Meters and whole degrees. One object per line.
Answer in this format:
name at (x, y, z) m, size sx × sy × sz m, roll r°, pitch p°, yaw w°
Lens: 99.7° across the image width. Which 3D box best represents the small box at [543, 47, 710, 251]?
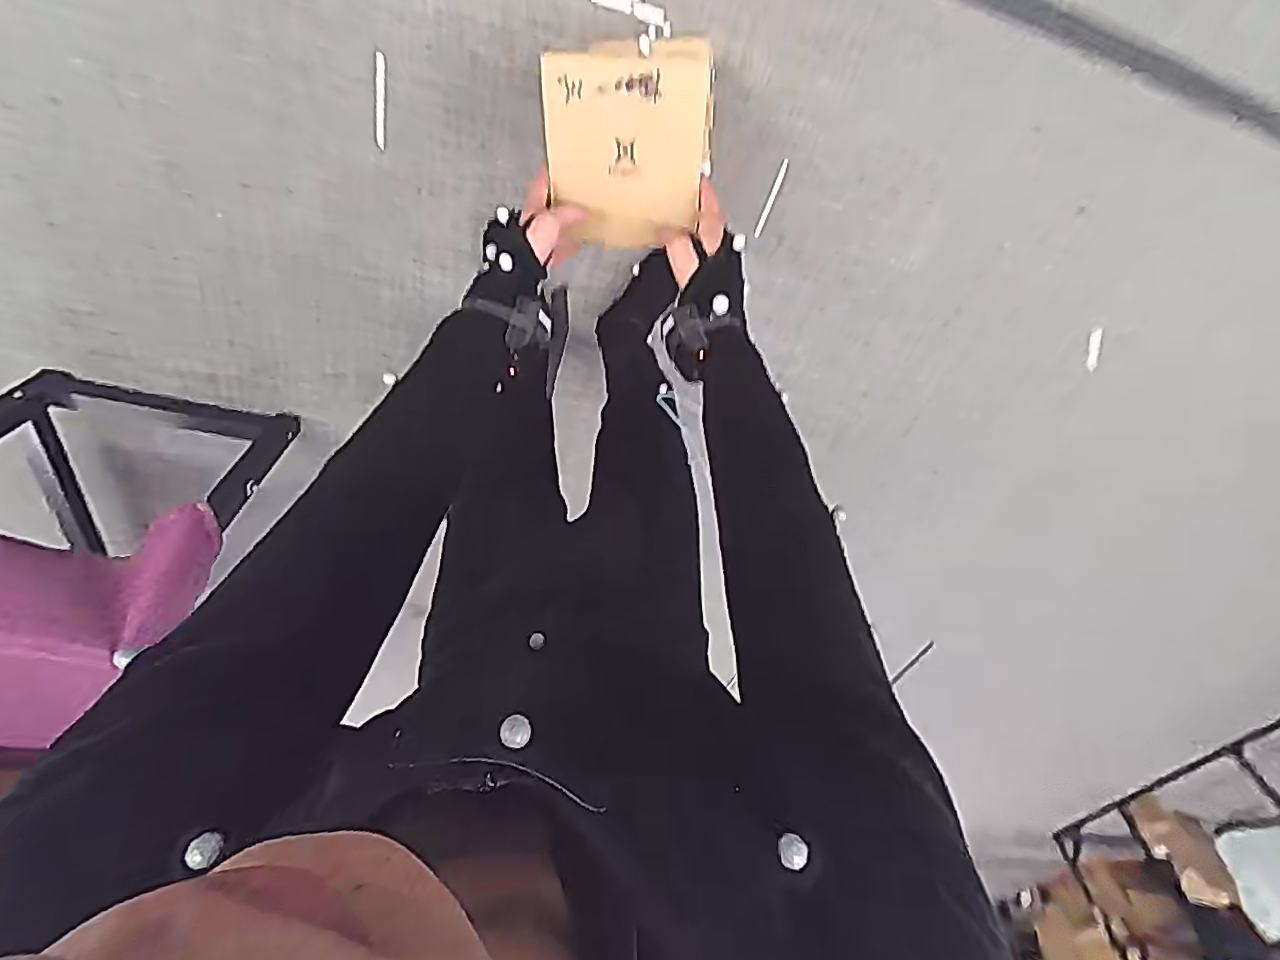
small box at (-0.010, -0.389, 0.633) m, size 0.168 × 0.176 × 0.179 m, roll 4°, pitch 130°, yaw 2°
